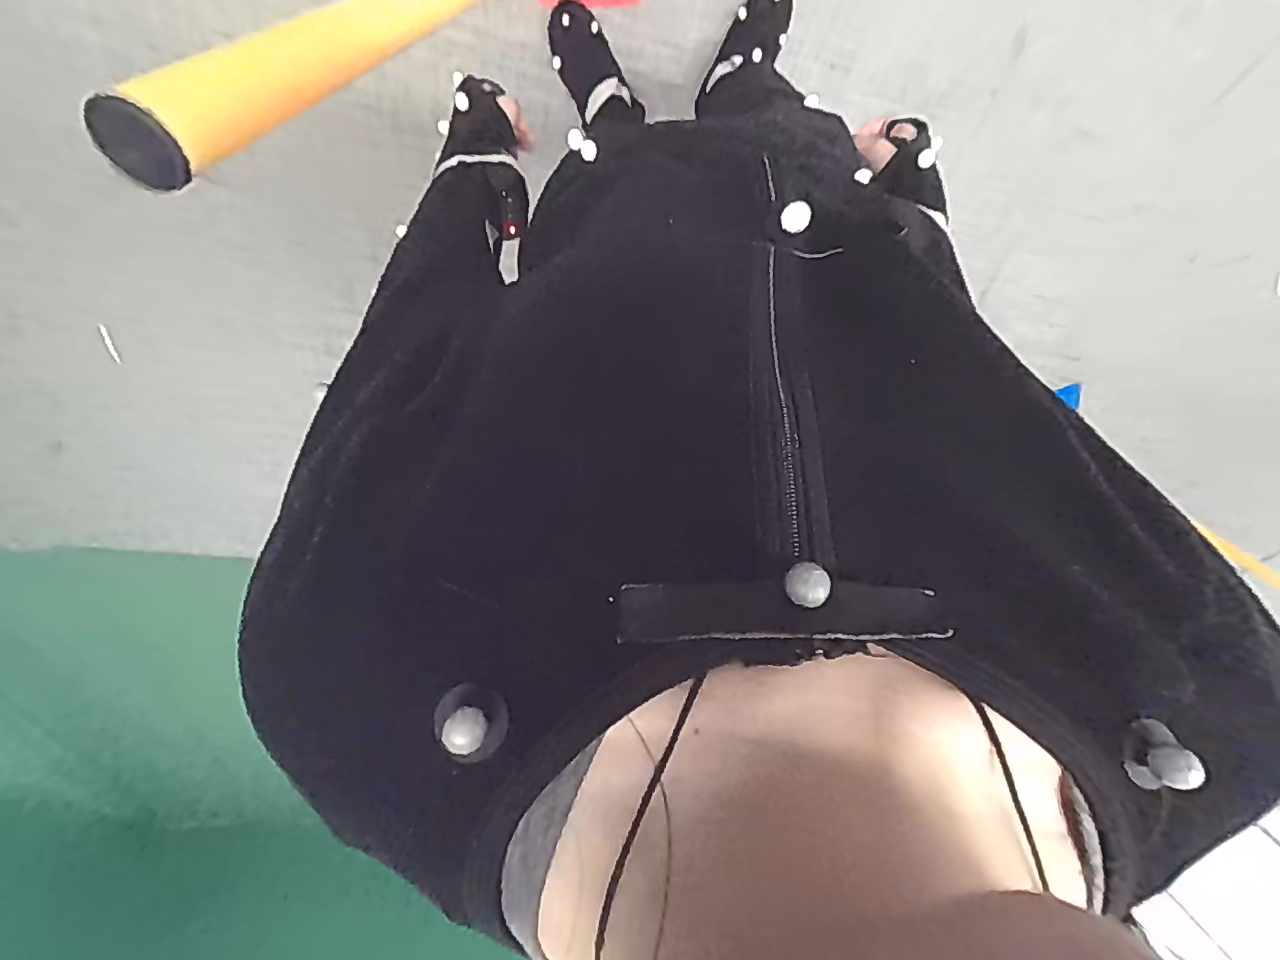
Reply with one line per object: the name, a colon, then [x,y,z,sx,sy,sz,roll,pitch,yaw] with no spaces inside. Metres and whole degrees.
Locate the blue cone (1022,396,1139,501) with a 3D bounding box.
blue cone: [1.416,-0.080,1.713,0.193,0.380,0.192,-25,130,14]
